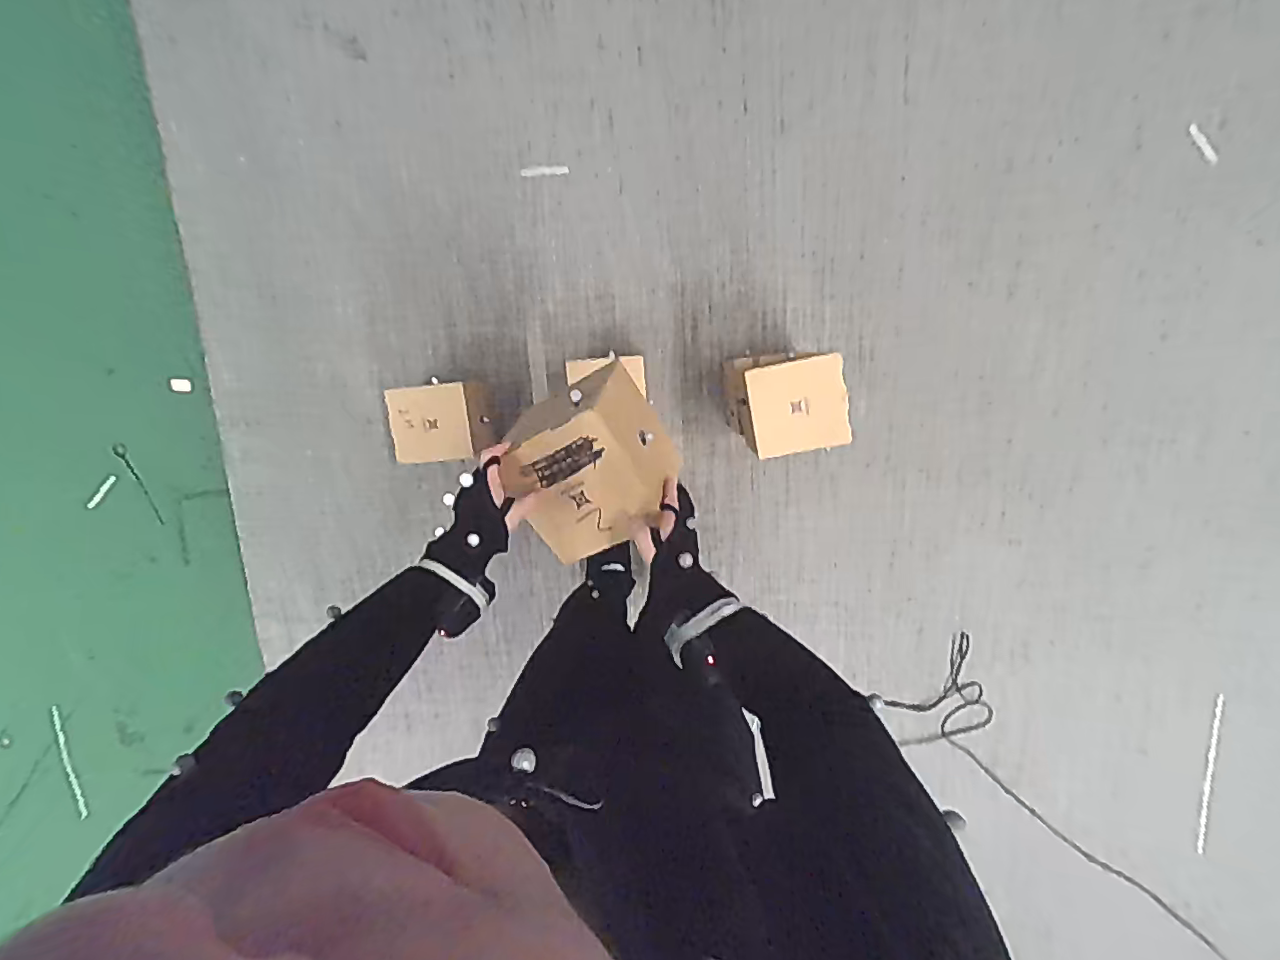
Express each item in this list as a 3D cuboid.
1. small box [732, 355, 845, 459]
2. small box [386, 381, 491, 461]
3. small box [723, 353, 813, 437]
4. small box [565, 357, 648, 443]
[{"bbox_3d":[0.281,-0.145,1.062,0.179,0.176,0.168,-11,101,4],"label":"small box"},{"bbox_3d":[-0.456,-0.142,1.258,0.179,0.176,0.168,-4,100,3],"label":"small box"},{"bbox_3d":[0.283,-0.192,1.218,0.179,0.176,0.168,-6,102,3],"label":"small box"},{"bbox_3d":[-0.071,-0.186,1.233,0.168,0.176,0.179,-3,100,3],"label":"small box"}]
